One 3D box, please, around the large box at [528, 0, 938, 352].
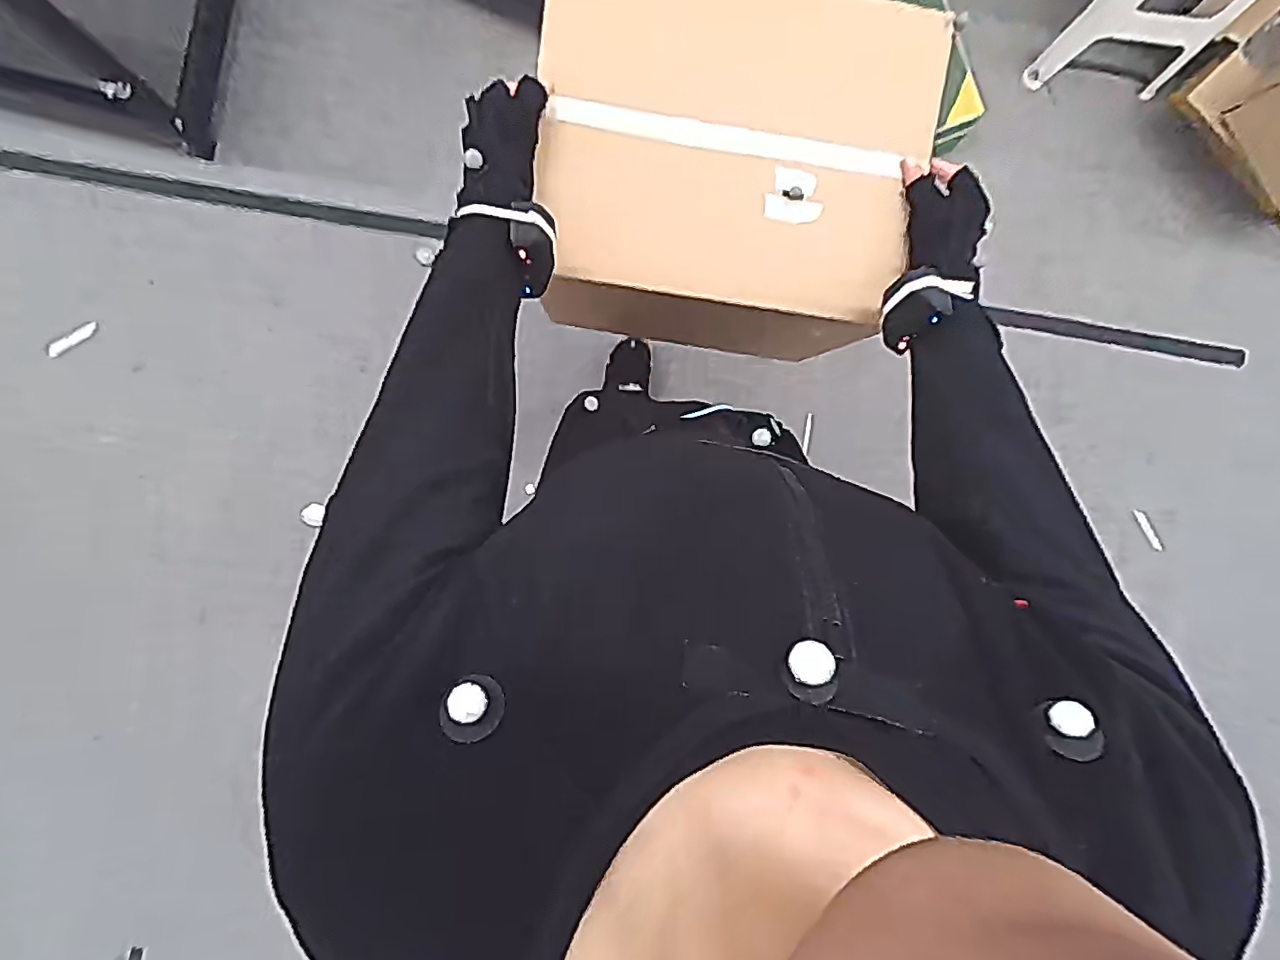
[{"bbox_3d":[0.086,-0.366,0.707,0.408,0.320,0.320,8,96,-5],"label":"large box"}]
